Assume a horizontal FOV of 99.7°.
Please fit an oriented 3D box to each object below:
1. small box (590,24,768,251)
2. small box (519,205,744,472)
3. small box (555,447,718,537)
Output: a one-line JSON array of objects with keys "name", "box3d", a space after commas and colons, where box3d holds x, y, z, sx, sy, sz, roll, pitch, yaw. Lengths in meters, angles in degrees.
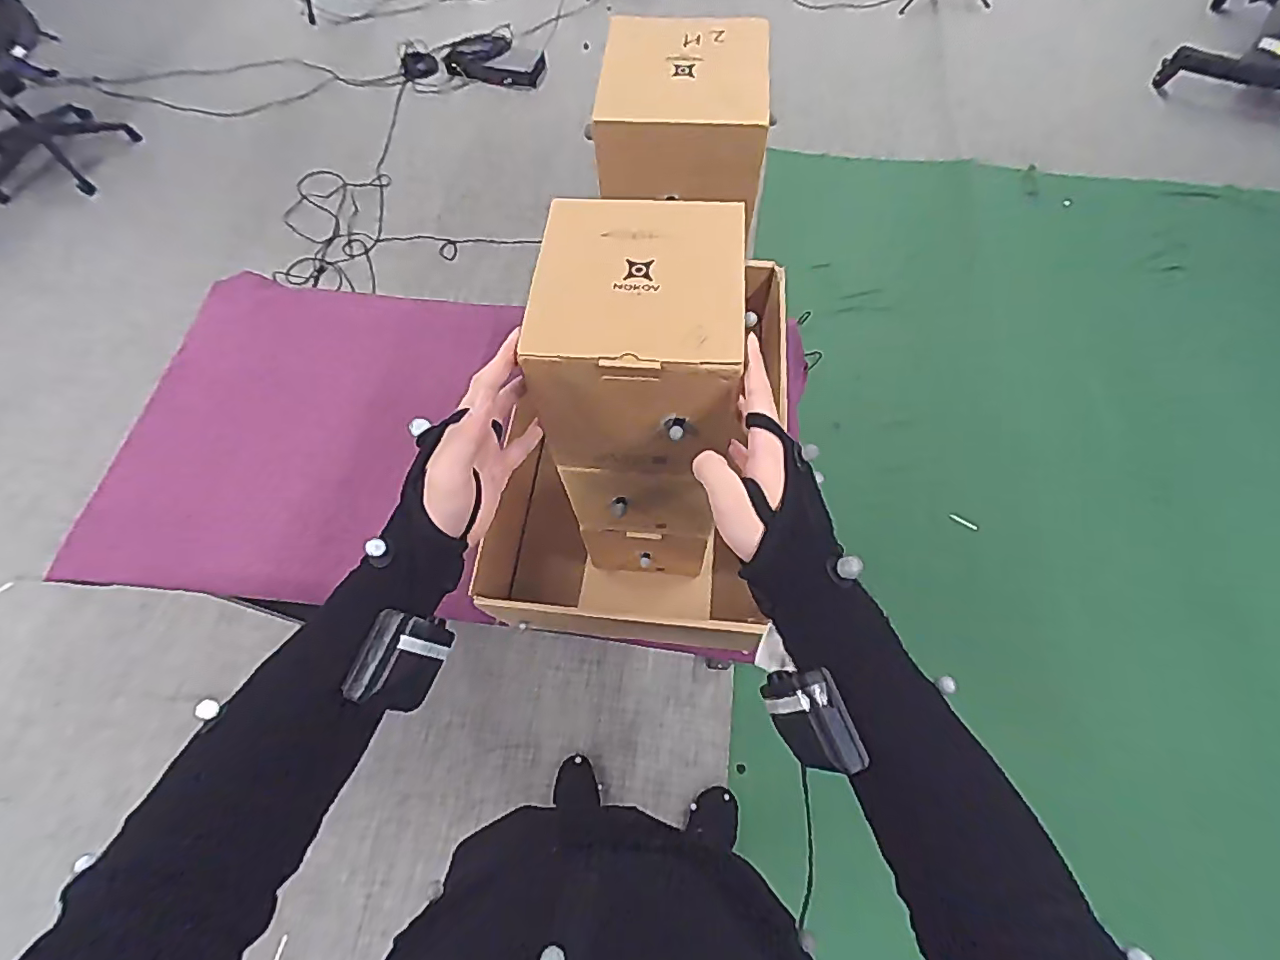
[{"name": "small box", "box3d": [0.046, -0.366, 0.606, 0.168, 0.176, 0.179, 5, 65, 4]}, {"name": "small box", "box3d": [0.002, -0.120, 0.495, 0.168, 0.176, 0.179, 3, 63, 4]}, {"name": "small box", "box3d": [0.009, -0.043, 0.638, 0.168, 0.176, 0.179, 4, 63, 5]}]
